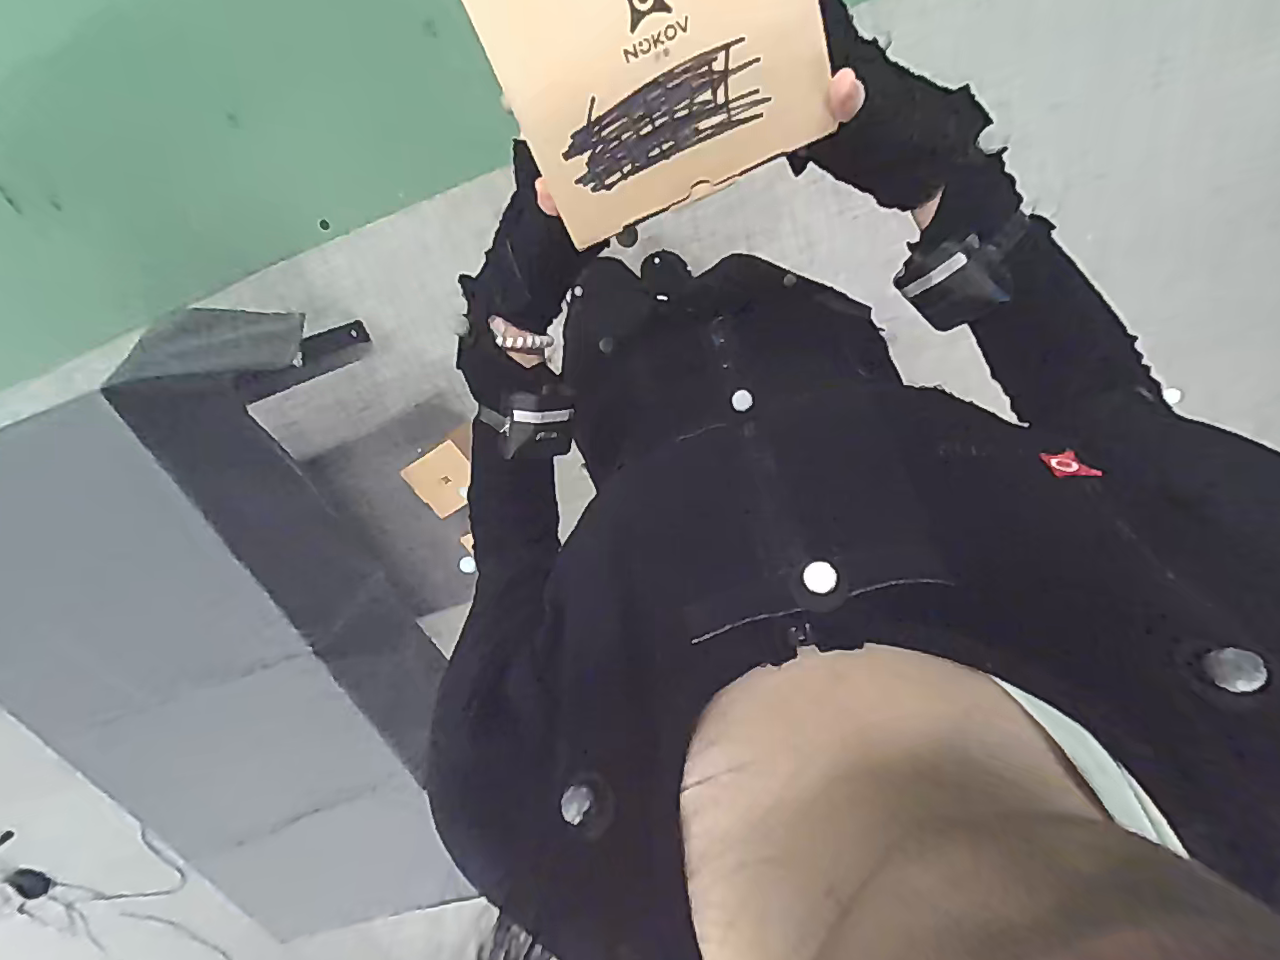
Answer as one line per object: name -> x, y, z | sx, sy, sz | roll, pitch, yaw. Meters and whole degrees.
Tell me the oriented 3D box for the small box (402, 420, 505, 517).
small box -> -0.496, -0.035, 1.464 | 0.179, 0.176, 0.168 | -29, 112, 14
